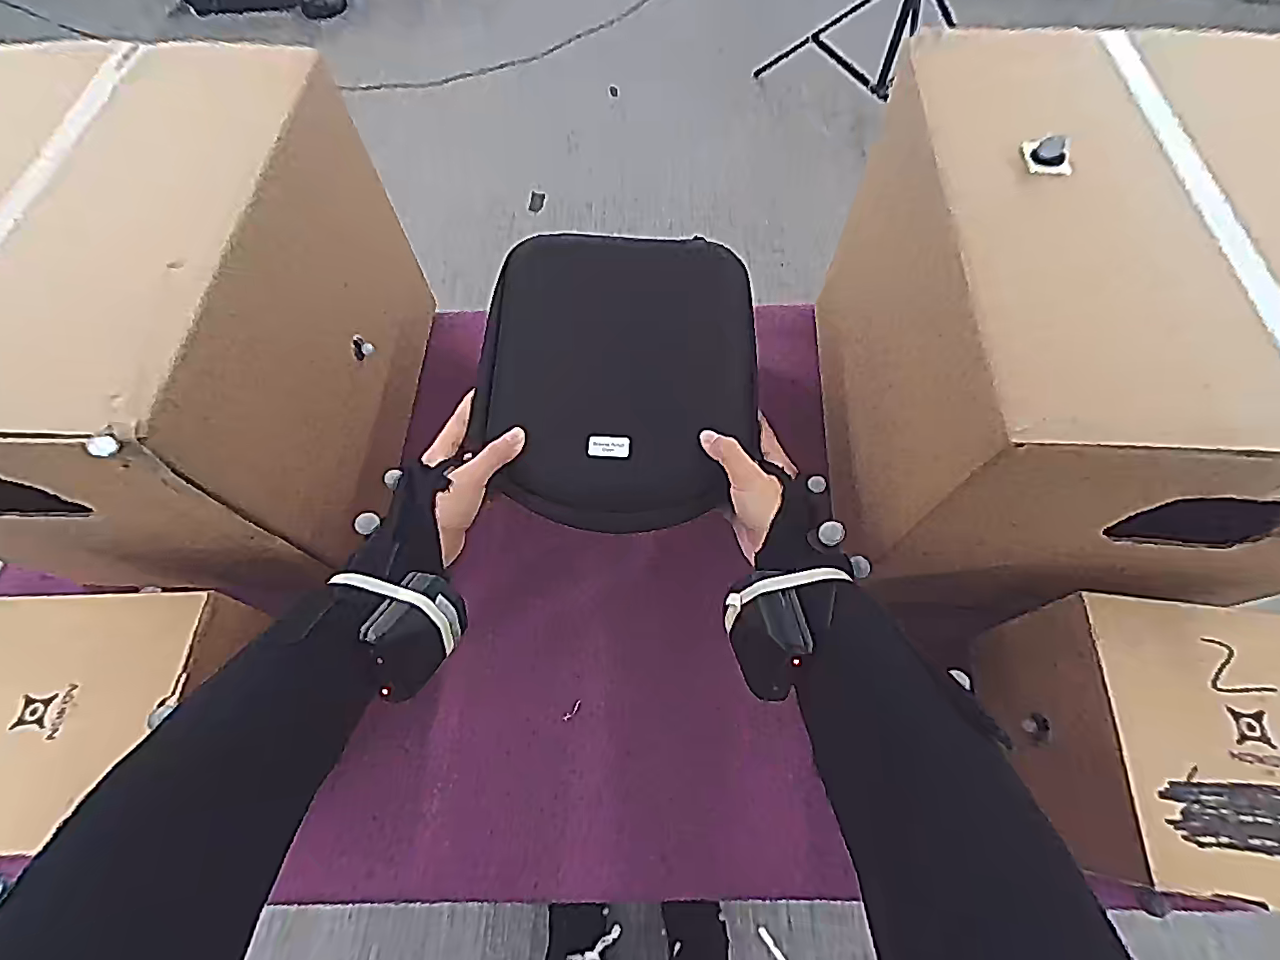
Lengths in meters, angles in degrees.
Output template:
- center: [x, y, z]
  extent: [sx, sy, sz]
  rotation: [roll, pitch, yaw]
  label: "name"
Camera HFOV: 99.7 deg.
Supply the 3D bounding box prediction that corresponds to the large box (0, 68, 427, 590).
- center: [-0.439, -0.123, 0.539]
  extent: [0.320, 0.320, 0.408]
  rotation: [-1, 65, 0]
  label: "large box"
